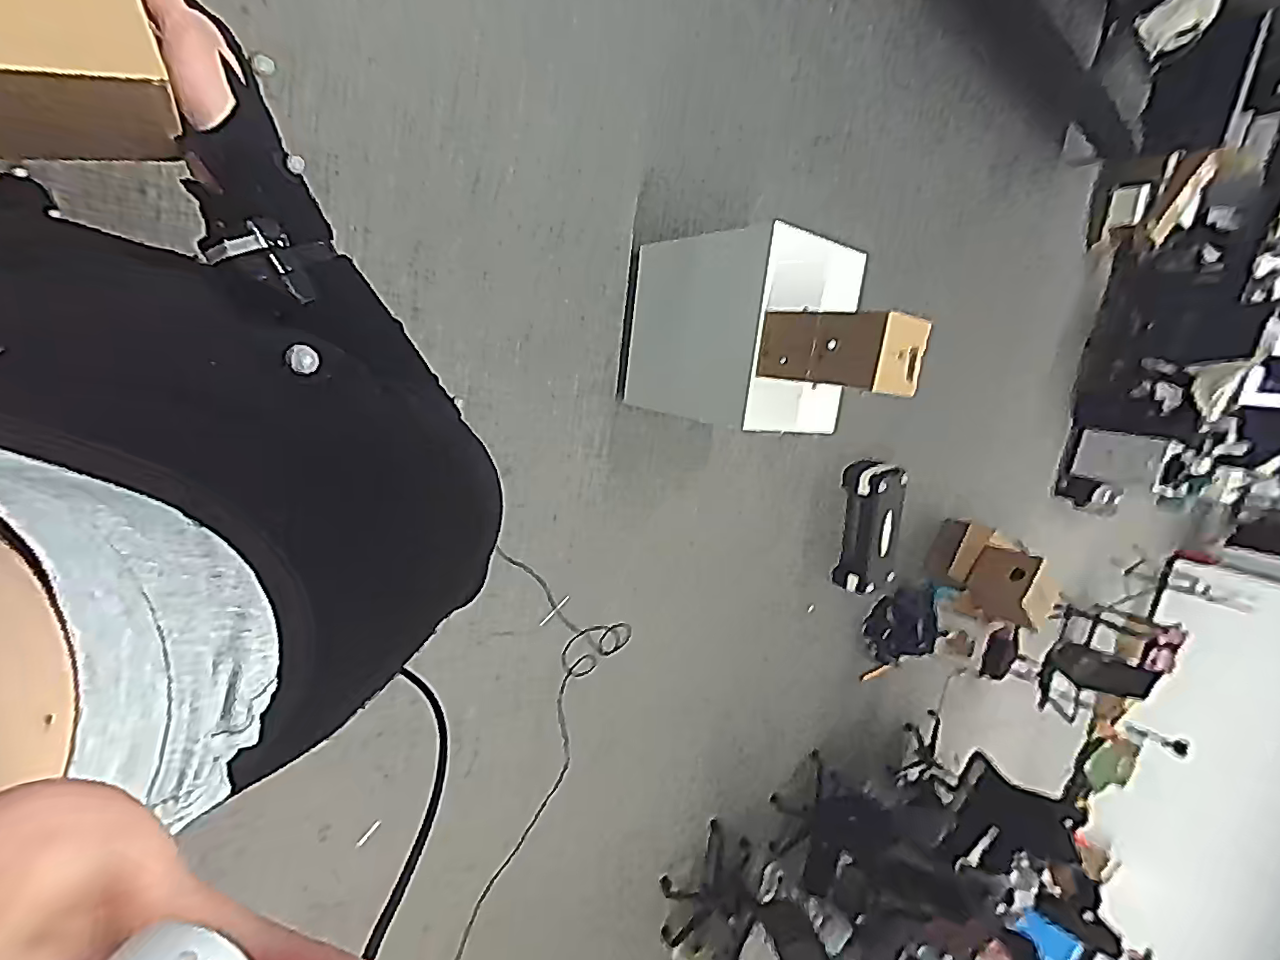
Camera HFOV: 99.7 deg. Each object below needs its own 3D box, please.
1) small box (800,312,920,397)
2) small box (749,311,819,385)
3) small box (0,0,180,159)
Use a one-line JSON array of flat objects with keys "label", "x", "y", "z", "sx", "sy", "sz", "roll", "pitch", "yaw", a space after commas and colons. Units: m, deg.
[{"label": "small box", "x": 0.498, "y": -0.287, "z": 1.232, "sx": 0.179, "sy": 0.176, "sz": 0.168, "roll": -2, "pitch": 105, "yaw": -37}, {"label": "small box", "x": 0.397, "y": -0.327, "z": 1.356, "sx": 0.179, "sy": 0.176, "sz": 0.168, "roll": -4, "pitch": 107, "yaw": -39}, {"label": "small box", "x": -0.363, "y": -0.268, "z": 0.260, "sx": 0.179, "sy": 0.176, "sz": 0.168, "roll": -19, "pitch": 114, "yaw": -32}]
